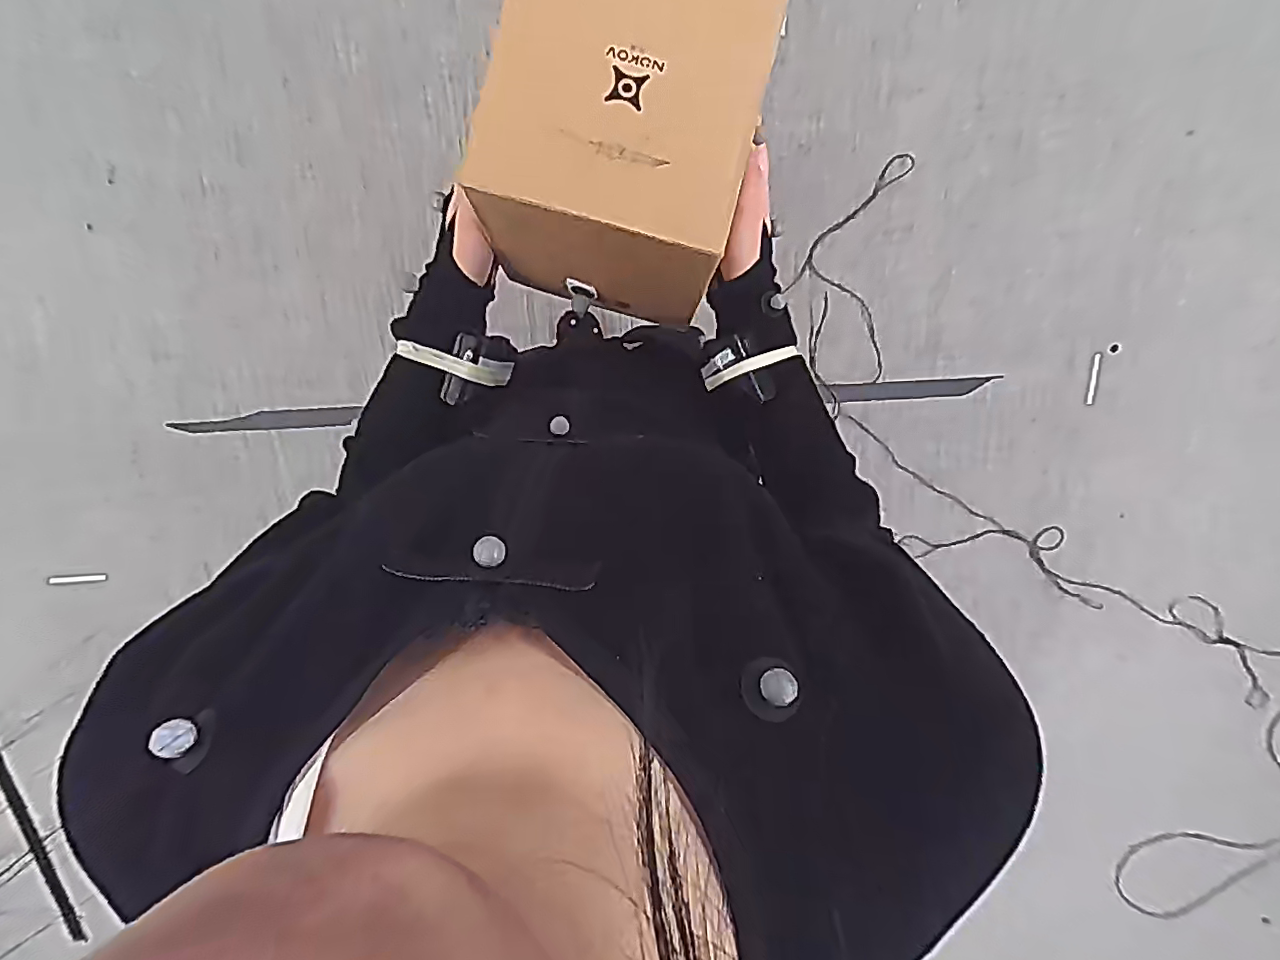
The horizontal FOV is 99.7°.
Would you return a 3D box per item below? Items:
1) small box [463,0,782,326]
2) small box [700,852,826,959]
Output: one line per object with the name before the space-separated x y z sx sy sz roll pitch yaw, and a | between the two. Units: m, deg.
small box | -0.013 -0.241 0.411 0.168 0.176 0.179 14 89 -2
small box | 0.197 0.763 0.895 0.168 0.176 0.179 -7 106 -2
